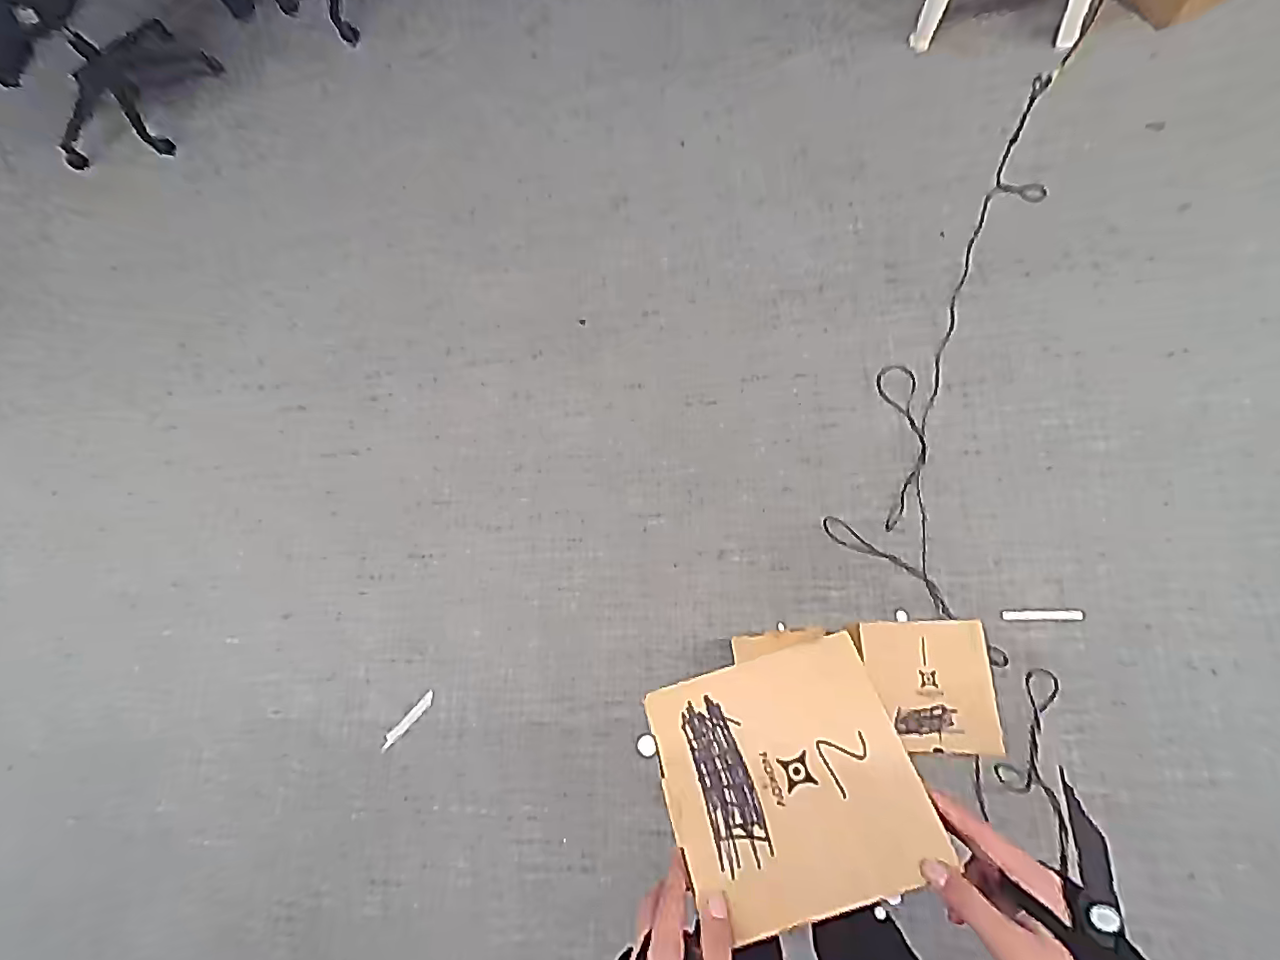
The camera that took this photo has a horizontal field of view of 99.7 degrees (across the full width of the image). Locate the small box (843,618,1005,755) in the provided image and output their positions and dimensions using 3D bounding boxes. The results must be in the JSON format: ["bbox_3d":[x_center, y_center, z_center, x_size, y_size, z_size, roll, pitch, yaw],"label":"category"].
[{"bbox_3d":[0.412,0.300,0.815,0.168,0.176,0.179,-4,73,10],"label":"small box"}]
